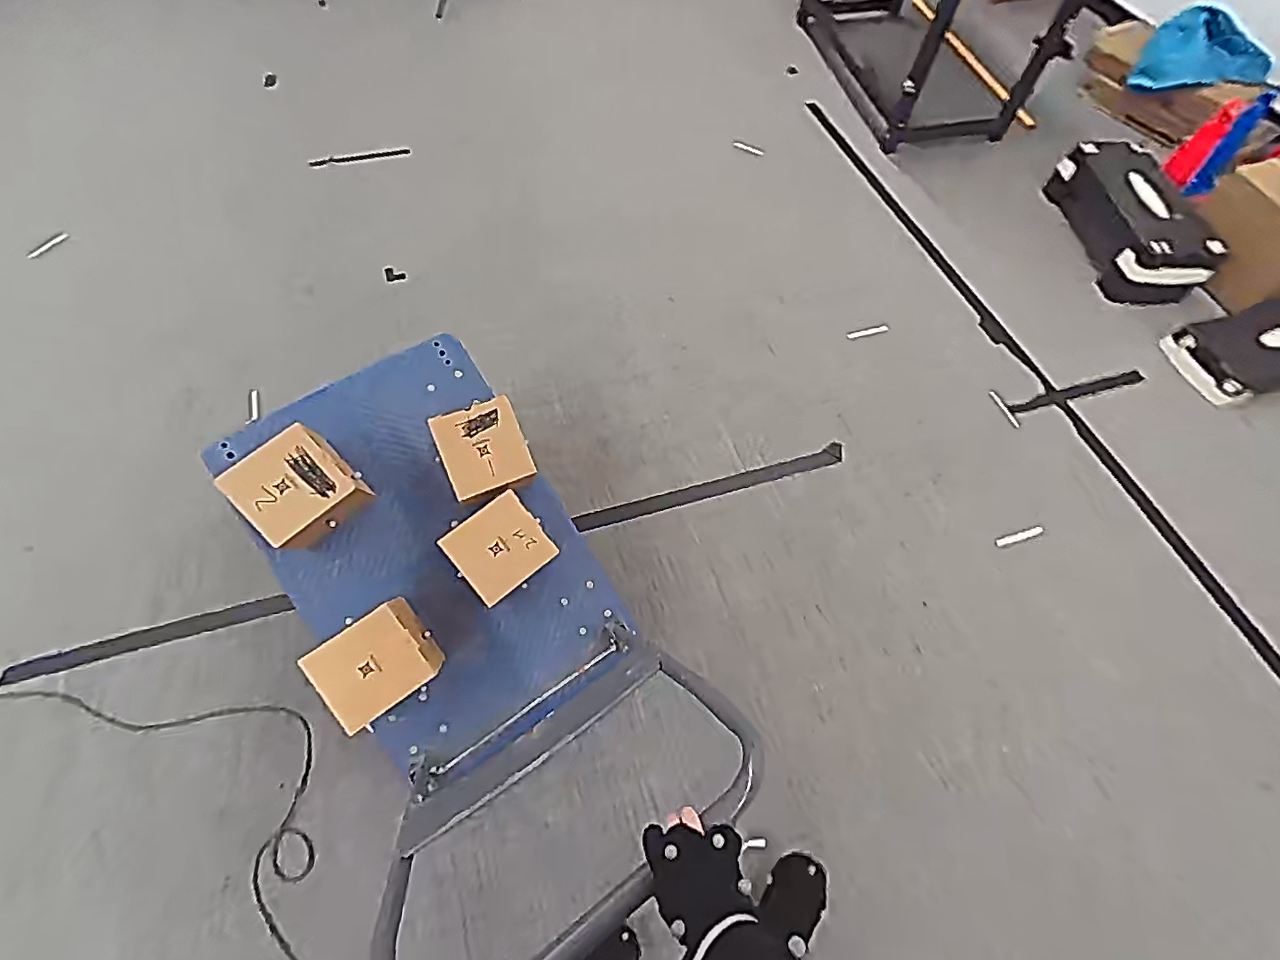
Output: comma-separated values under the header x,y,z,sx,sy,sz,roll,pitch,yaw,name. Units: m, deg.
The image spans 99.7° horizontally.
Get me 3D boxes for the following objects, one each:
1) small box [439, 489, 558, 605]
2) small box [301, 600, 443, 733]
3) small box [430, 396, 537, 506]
x,y,z,sx,sy,sz,roll,pitch,yaw,name
-0.294,0.142,1.142,0.179,0.176,0.168,-38,92,-16,small box
-0.509,0.352,1.058,0.179,0.176,0.168,-35,91,-18,small box
-0.333,-0.056,1.162,0.168,0.176,0.179,-22,89,-16,small box
